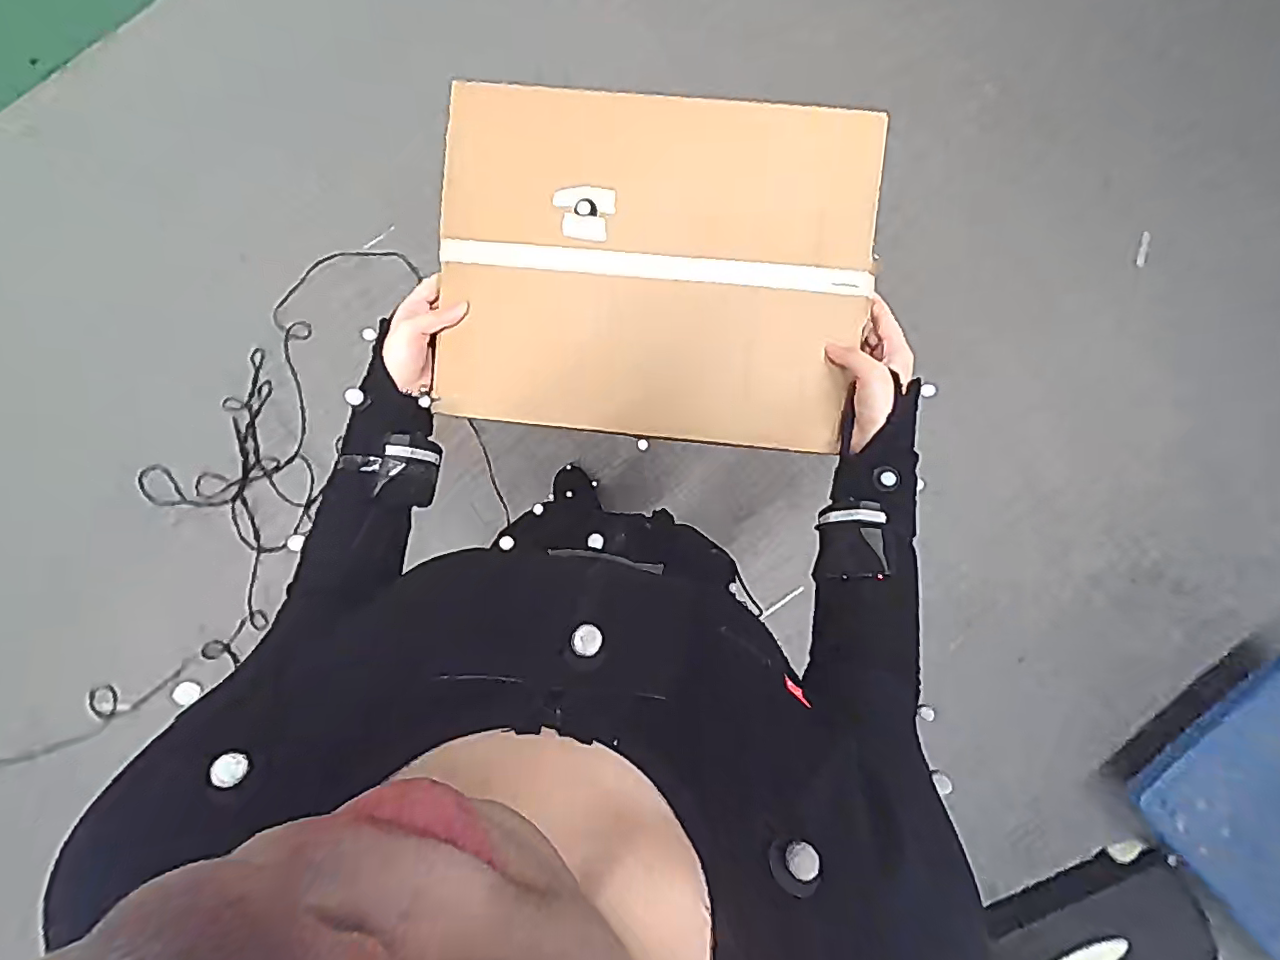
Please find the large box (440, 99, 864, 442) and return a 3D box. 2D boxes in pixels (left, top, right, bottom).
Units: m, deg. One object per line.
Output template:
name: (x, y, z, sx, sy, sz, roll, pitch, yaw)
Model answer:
large box: (0.015, -0.218, 0.672, 0.408, 0.320, 0.320, 5, 95, 4)
